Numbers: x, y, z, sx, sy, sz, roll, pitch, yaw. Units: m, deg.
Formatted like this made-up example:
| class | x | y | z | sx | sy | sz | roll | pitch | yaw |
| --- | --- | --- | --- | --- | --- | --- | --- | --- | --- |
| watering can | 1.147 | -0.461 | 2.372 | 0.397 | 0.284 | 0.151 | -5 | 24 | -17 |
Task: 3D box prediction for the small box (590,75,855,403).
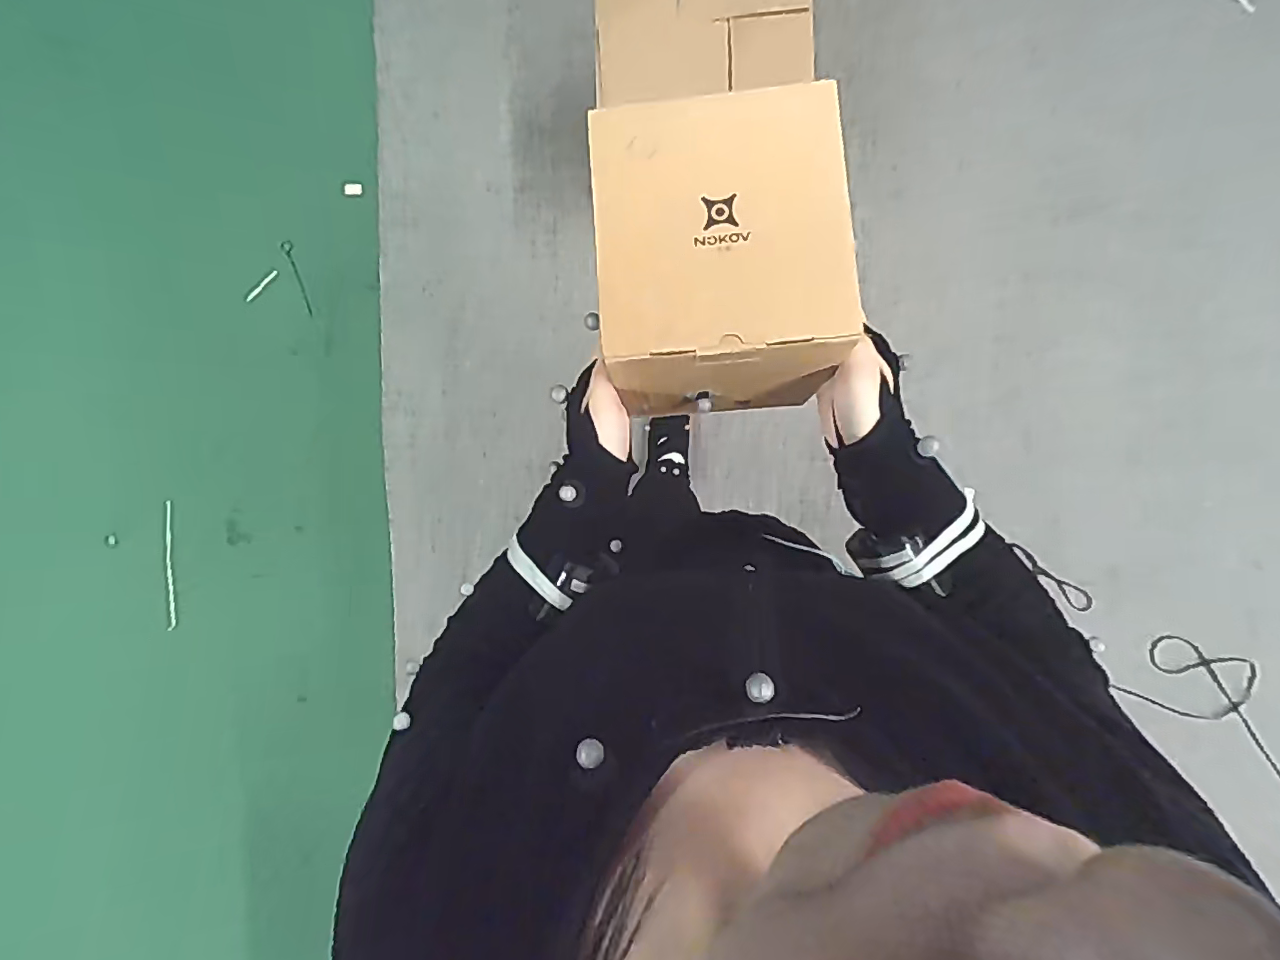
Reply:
| class | x | y | z | sx | sy | sz | roll | pitch | yaw |
| --- | --- | --- | --- | --- | --- | --- | --- | --- | --- |
| small box | 0.054 | -0.169 | 0.429 | 0.168 | 0.176 | 0.179 | -3 | 86 | 3 |
